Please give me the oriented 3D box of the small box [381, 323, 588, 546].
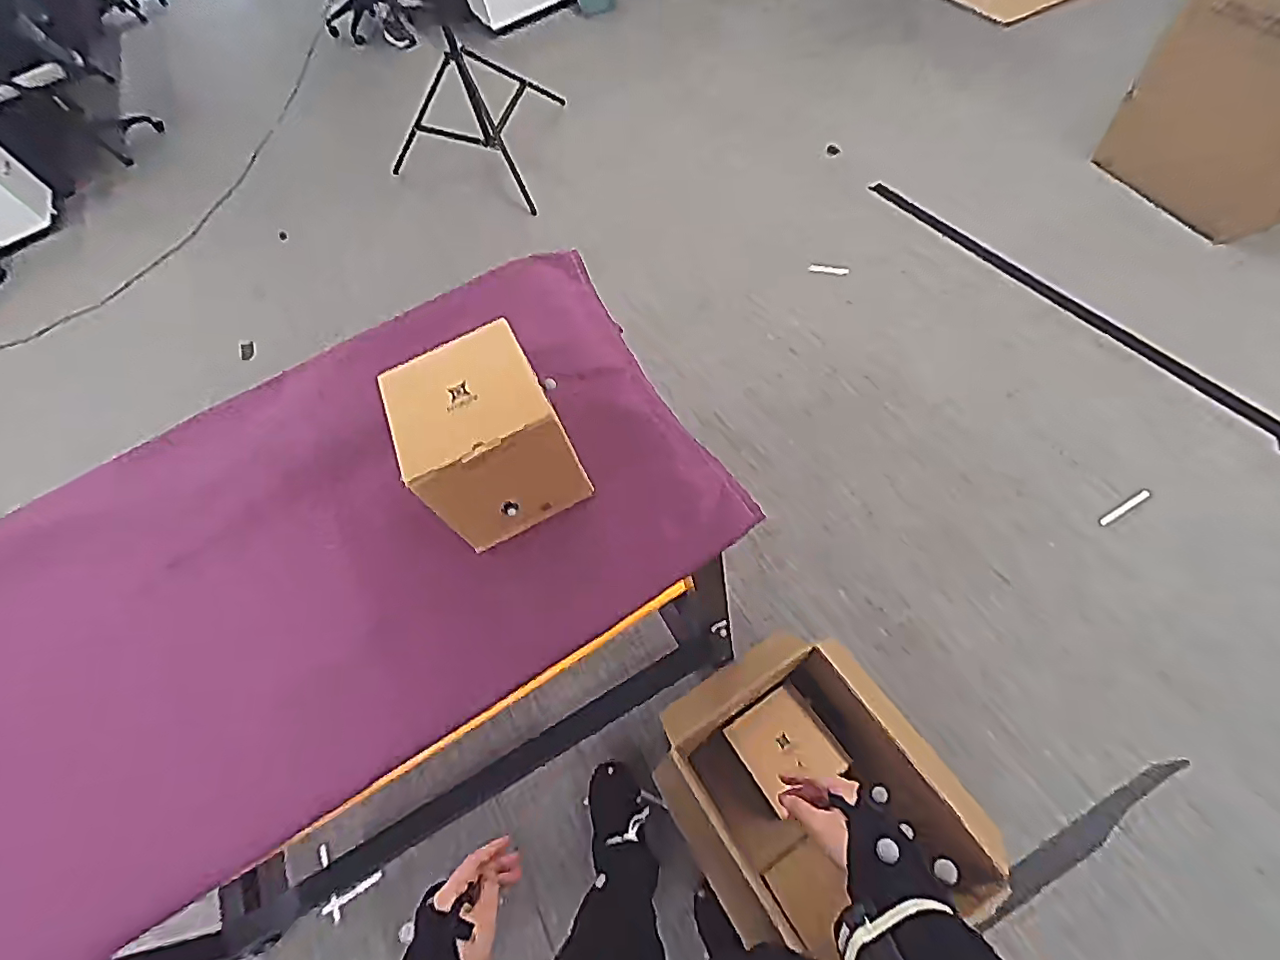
[{"bbox_3d":[-0.183,-0.050,0.662,0.168,0.176,0.179,-28,58,-5],"label":"small box"}]
